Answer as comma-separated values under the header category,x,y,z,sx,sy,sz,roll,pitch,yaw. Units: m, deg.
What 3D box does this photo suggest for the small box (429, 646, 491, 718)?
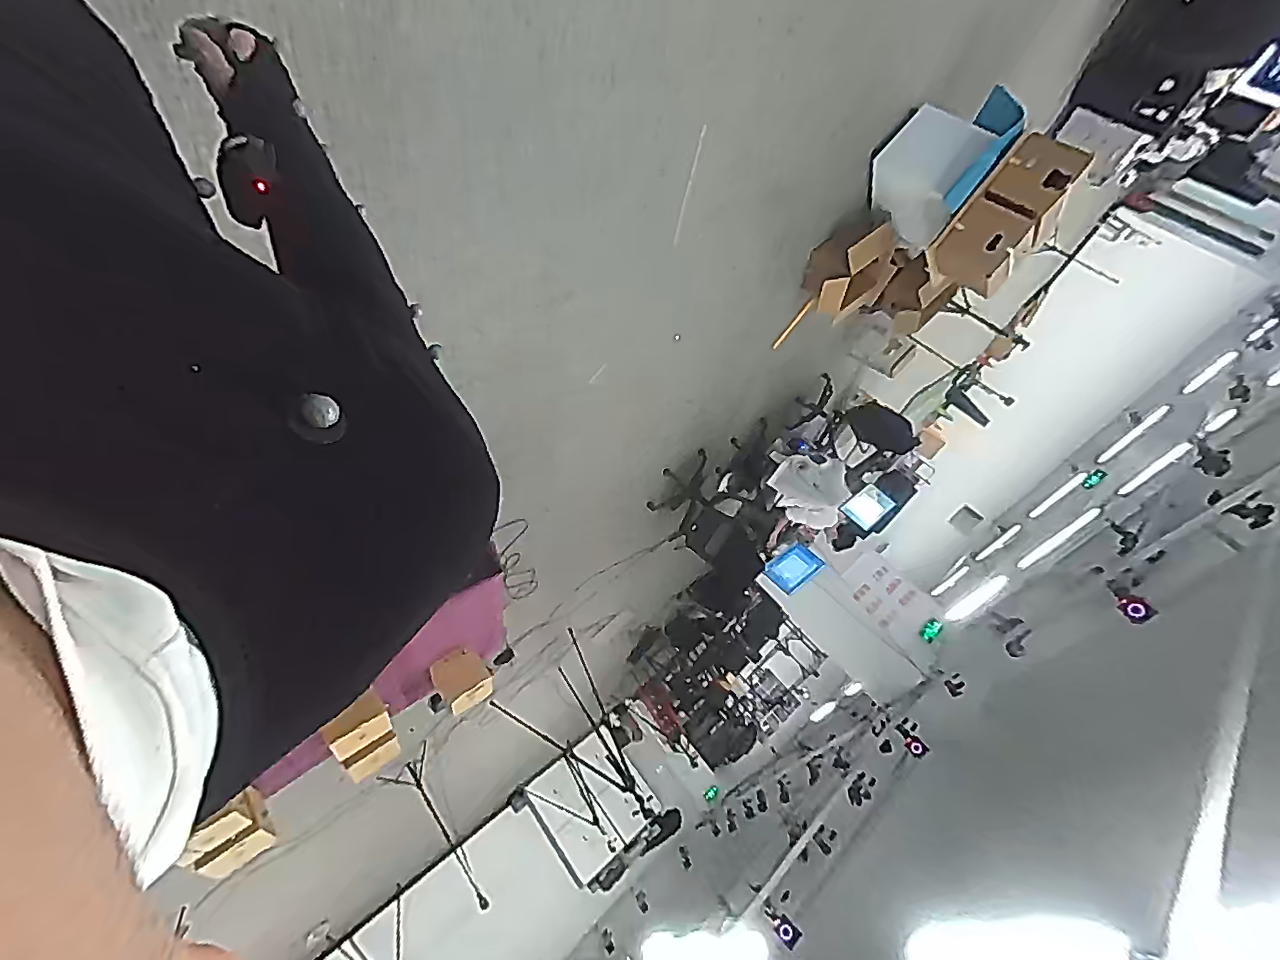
category,x,y,z,sx,sy,sz,roll,pitch,yaw
small box,-0.682,0.759,2.048,0.168,0.176,0.179,-27,152,-33

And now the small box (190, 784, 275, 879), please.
category,x,y,z,sx,sy,sz,roll,pitch,yaw
small box,-1.246,1.059,1.635,0.168,0.176,0.179,-28,152,-33

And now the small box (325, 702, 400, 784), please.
category,x,y,z,sx,sy,sz,roll,pitch,yaw
small box,-0.948,0.894,1.849,0.168,0.176,0.179,-28,151,-34

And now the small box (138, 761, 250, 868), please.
category,x,y,z,sx,sy,sz,roll,pitch,yaw
small box,-1.187,0.889,1.445,0.168,0.176,0.179,-28,153,-35
